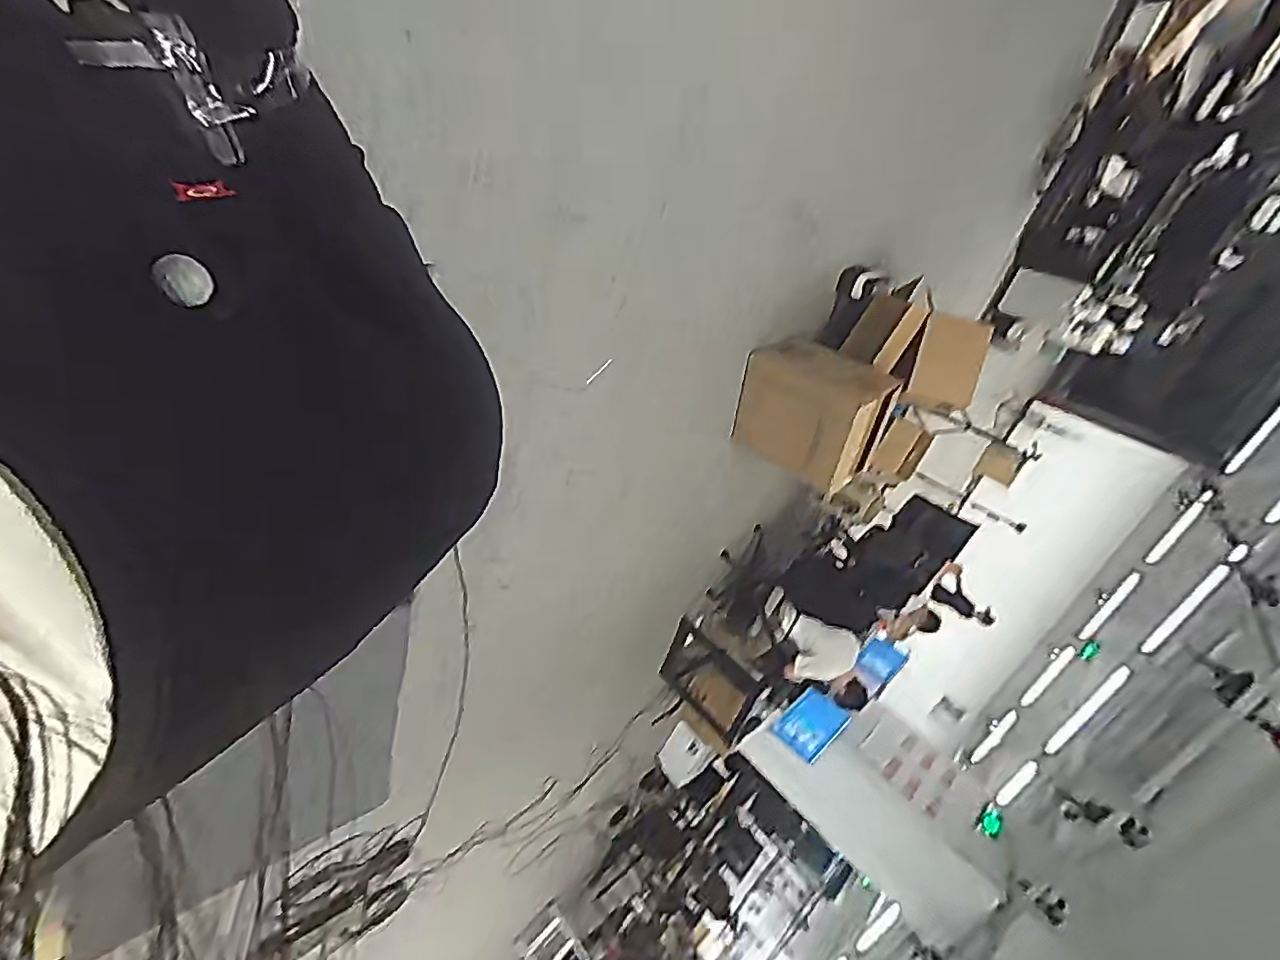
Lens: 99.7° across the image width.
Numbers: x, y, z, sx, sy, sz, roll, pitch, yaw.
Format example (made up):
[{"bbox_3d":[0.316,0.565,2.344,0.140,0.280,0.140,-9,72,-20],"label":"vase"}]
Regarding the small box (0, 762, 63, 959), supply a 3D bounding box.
[{"bbox_3d":[-0.795,0.471,0.617,0.179,0.176,0.168,-7,129,-47],"label":"small box"}]
